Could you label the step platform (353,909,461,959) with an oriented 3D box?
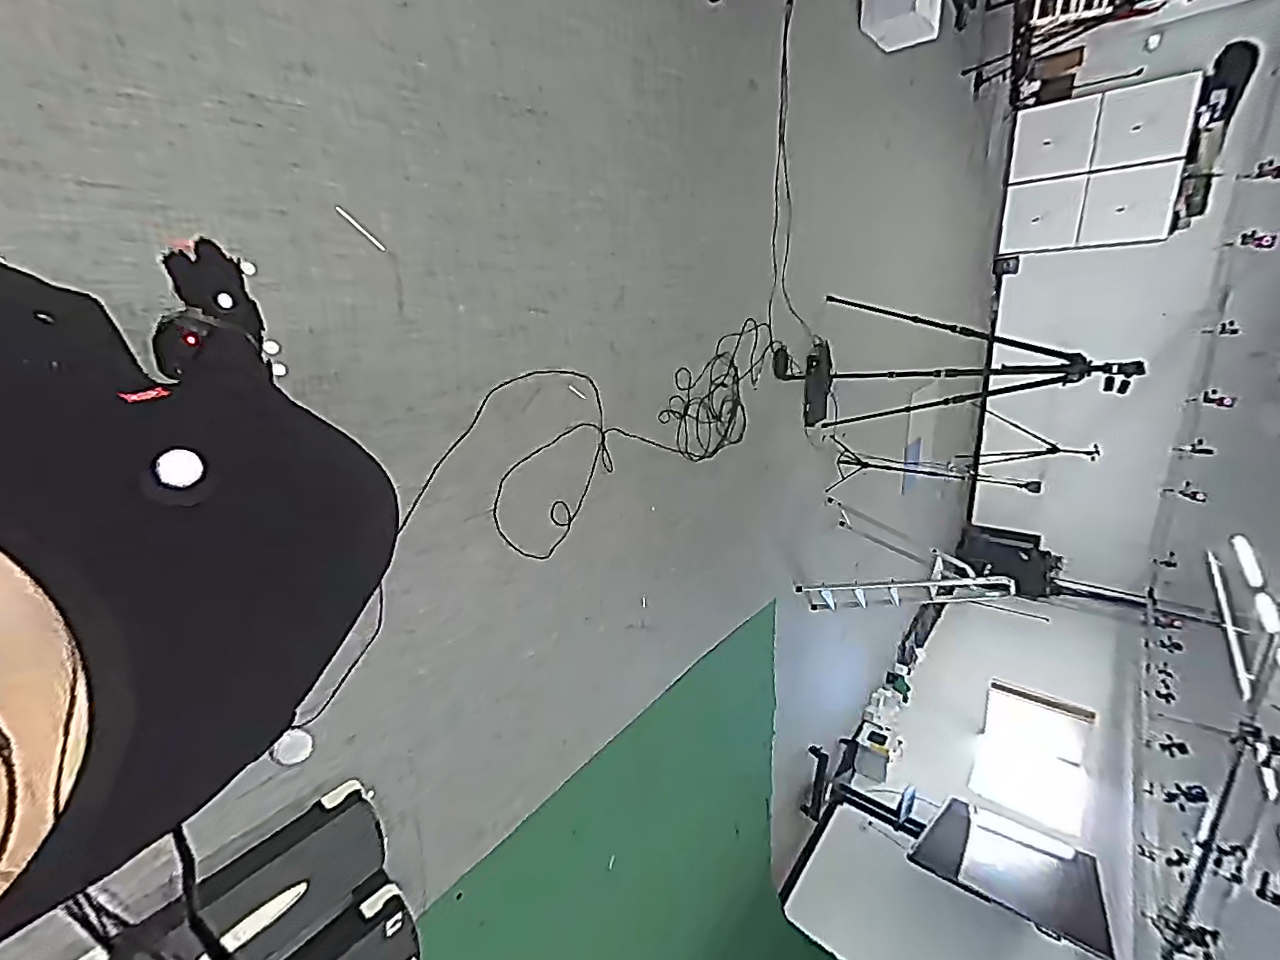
[{"bbox_3d":[-0.794,1.493,1.372,0.684,0.204,0.286,-24,117,-47],"label":"step platform"}]
